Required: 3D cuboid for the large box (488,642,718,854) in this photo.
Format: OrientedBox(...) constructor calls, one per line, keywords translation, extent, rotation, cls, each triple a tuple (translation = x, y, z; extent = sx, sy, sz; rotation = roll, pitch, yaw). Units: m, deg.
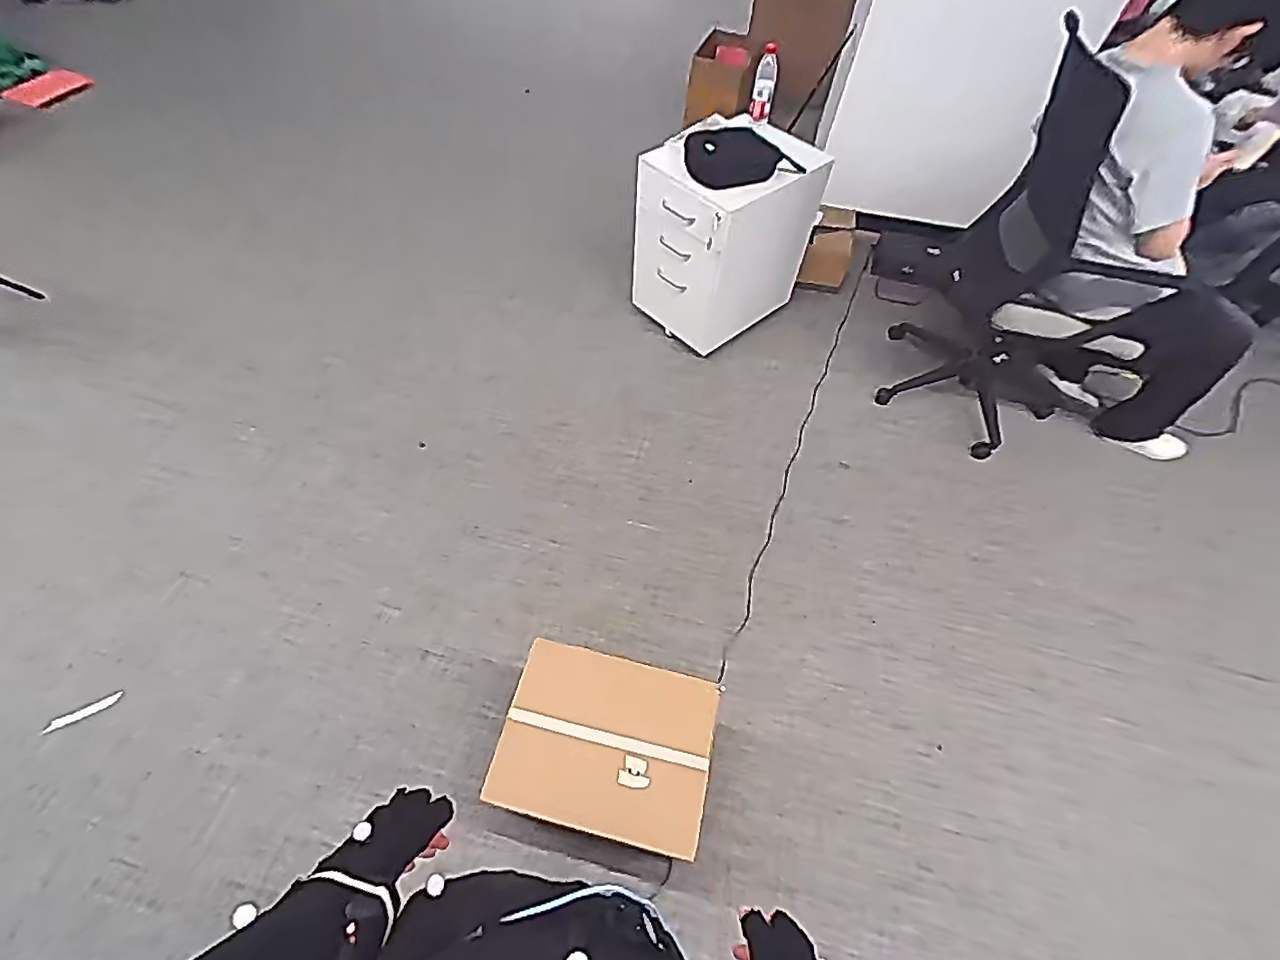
OrientedBox(translation=(-0.070, 0.593, 1.192), extent=(0.408, 0.320, 0.320), rotation=(13, 57, 5), cls="large box")
